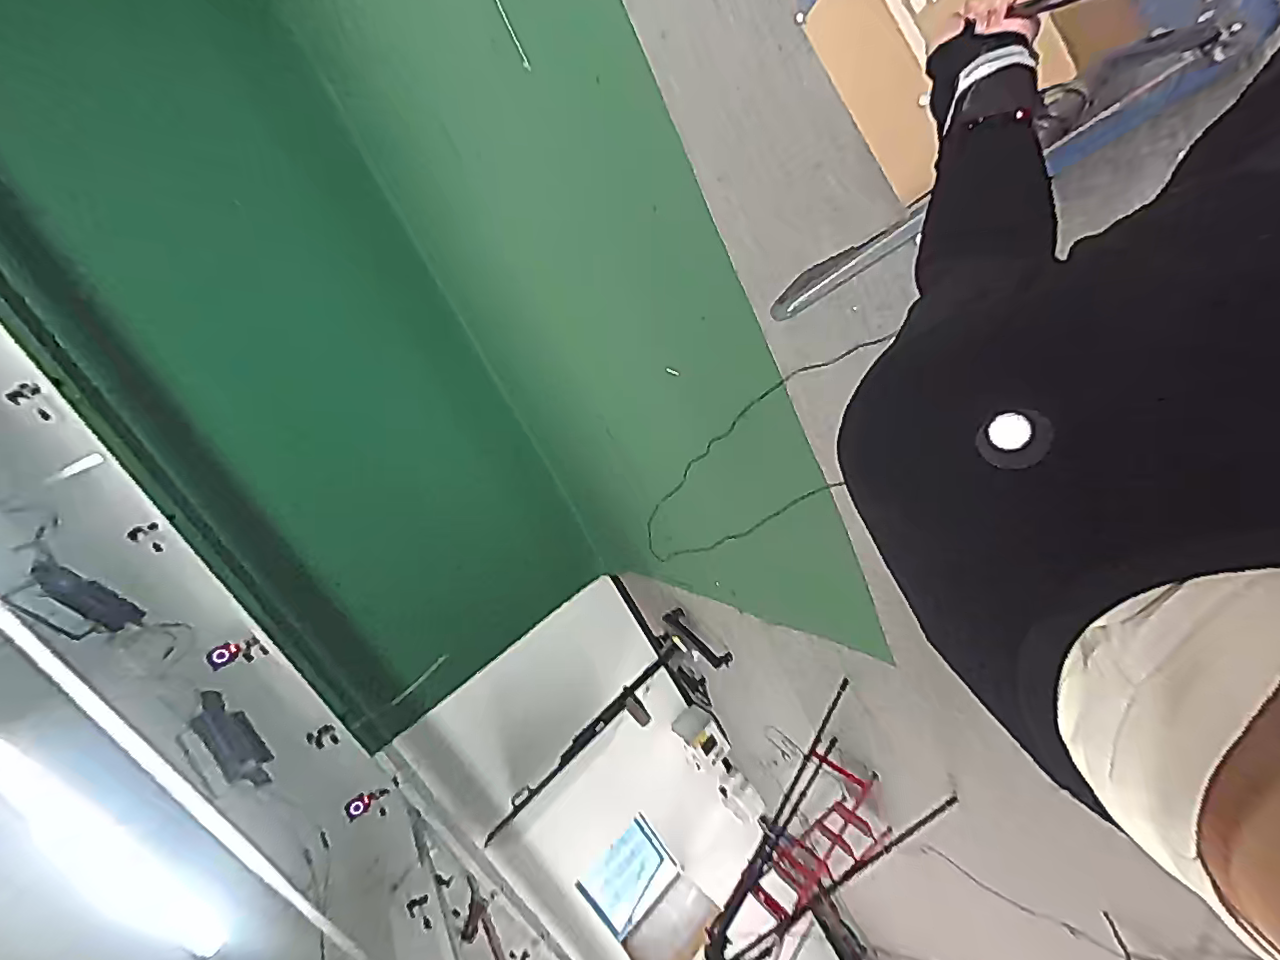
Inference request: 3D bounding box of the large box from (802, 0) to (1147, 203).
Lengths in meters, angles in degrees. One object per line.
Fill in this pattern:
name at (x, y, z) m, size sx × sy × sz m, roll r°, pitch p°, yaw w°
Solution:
large box at (0.585, -0.805, 0.971) m, size 0.408 × 0.320 × 0.320 m, roll 57°, pitch 154°, yaw -5°
